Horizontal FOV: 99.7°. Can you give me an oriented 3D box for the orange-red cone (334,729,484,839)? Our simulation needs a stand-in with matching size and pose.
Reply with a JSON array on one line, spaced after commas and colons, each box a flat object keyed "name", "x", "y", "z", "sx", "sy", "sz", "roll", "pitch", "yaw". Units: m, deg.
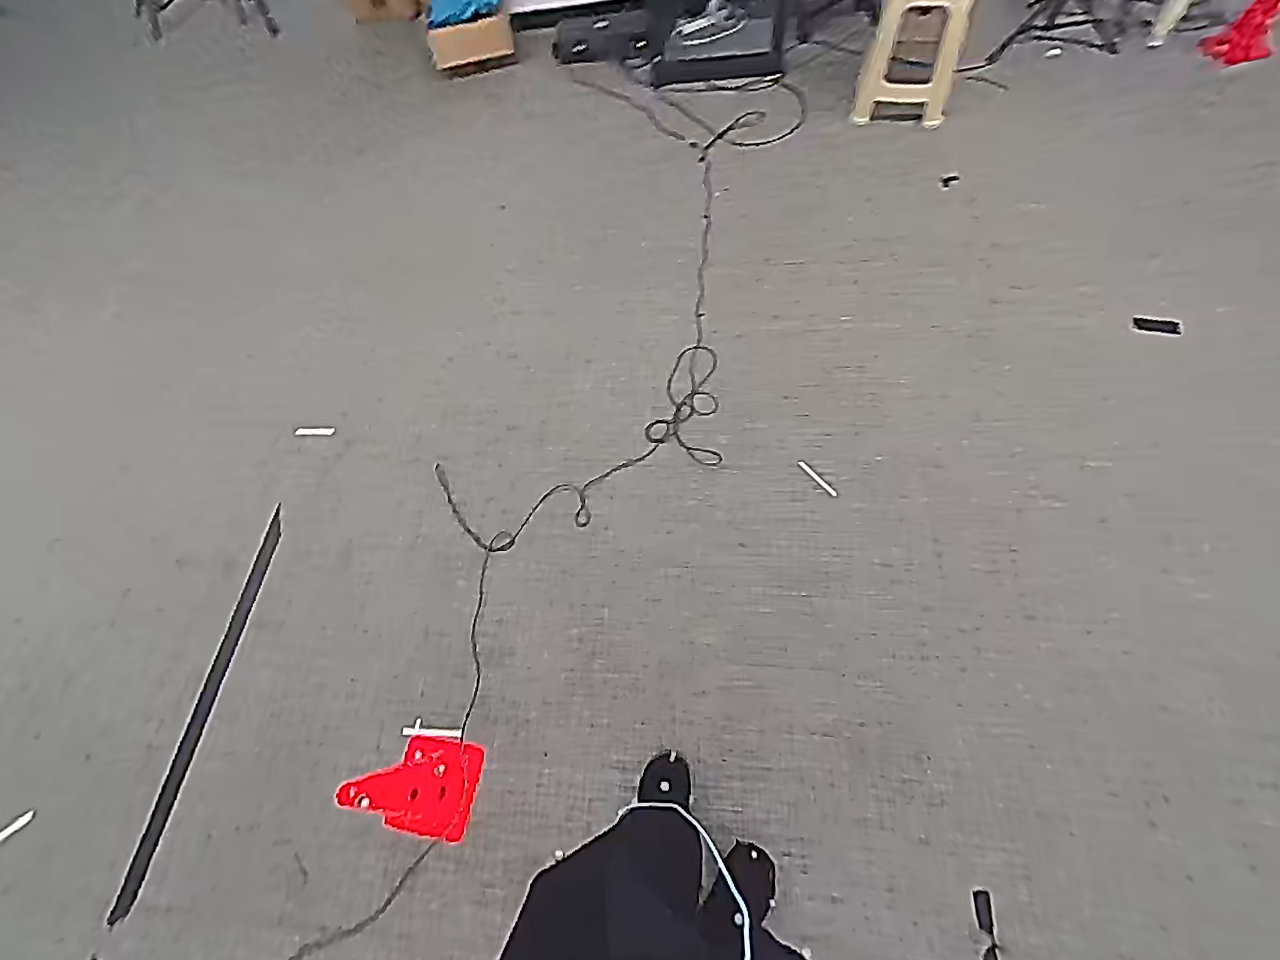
[{"name": "orange-red cone", "x": -0.498, "y": 0.627, "z": 1.107, "sx": 0.198, "sy": 0.360, "sz": 0.199, "roll": 7, "pitch": 65, "yaw": 12}]
